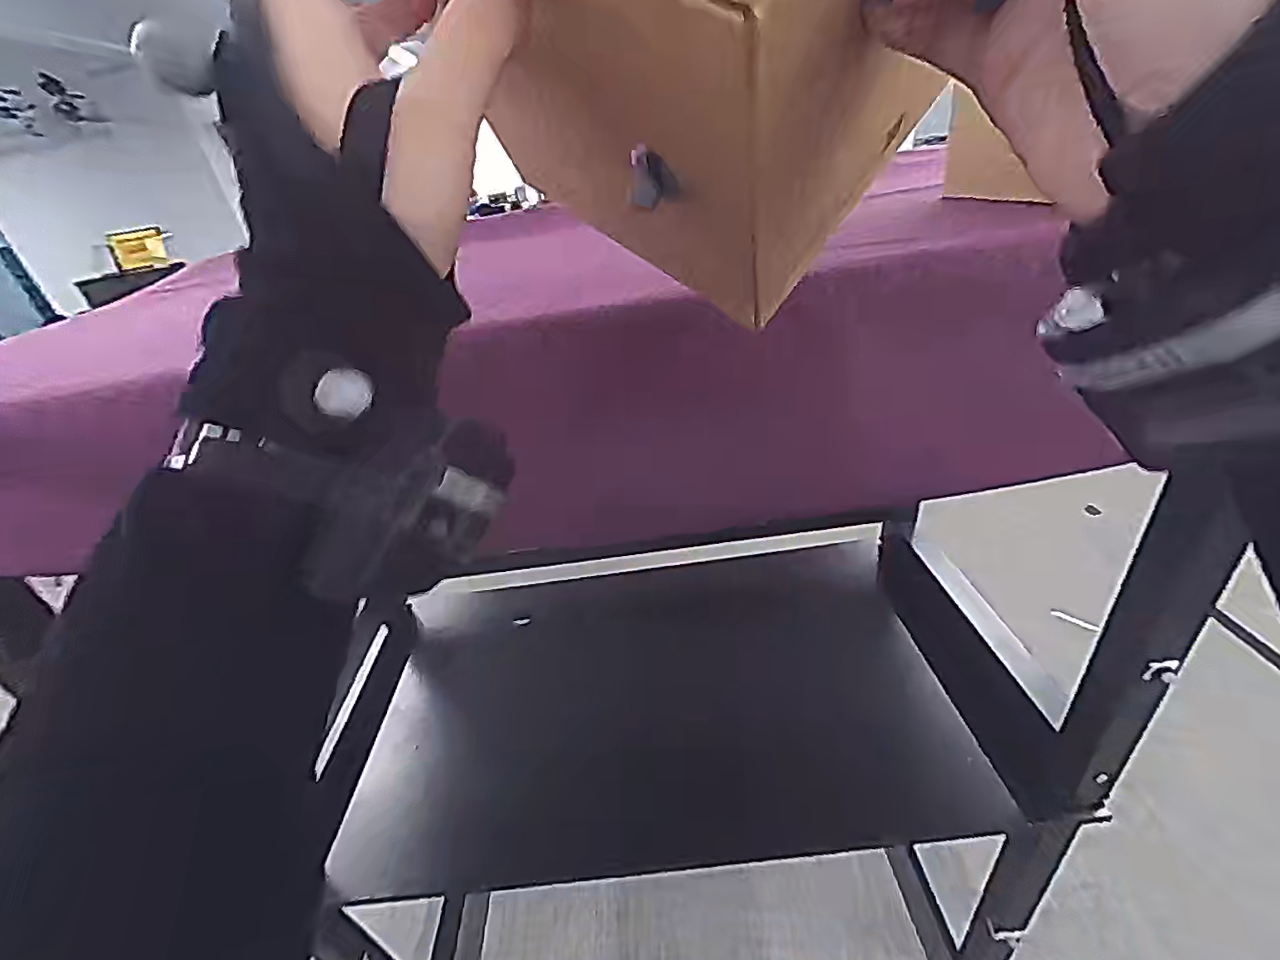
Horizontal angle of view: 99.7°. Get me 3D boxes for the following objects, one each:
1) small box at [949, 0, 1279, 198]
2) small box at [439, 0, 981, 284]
[{"bbox_3d":[0.362,-0.315,0.401,0.168,0.176,0.179,-13,31,-4],"label":"small box"},{"bbox_3d":[0.032,-0.212,0.222,0.179,0.176,0.168,39,90,17],"label":"small box"}]
